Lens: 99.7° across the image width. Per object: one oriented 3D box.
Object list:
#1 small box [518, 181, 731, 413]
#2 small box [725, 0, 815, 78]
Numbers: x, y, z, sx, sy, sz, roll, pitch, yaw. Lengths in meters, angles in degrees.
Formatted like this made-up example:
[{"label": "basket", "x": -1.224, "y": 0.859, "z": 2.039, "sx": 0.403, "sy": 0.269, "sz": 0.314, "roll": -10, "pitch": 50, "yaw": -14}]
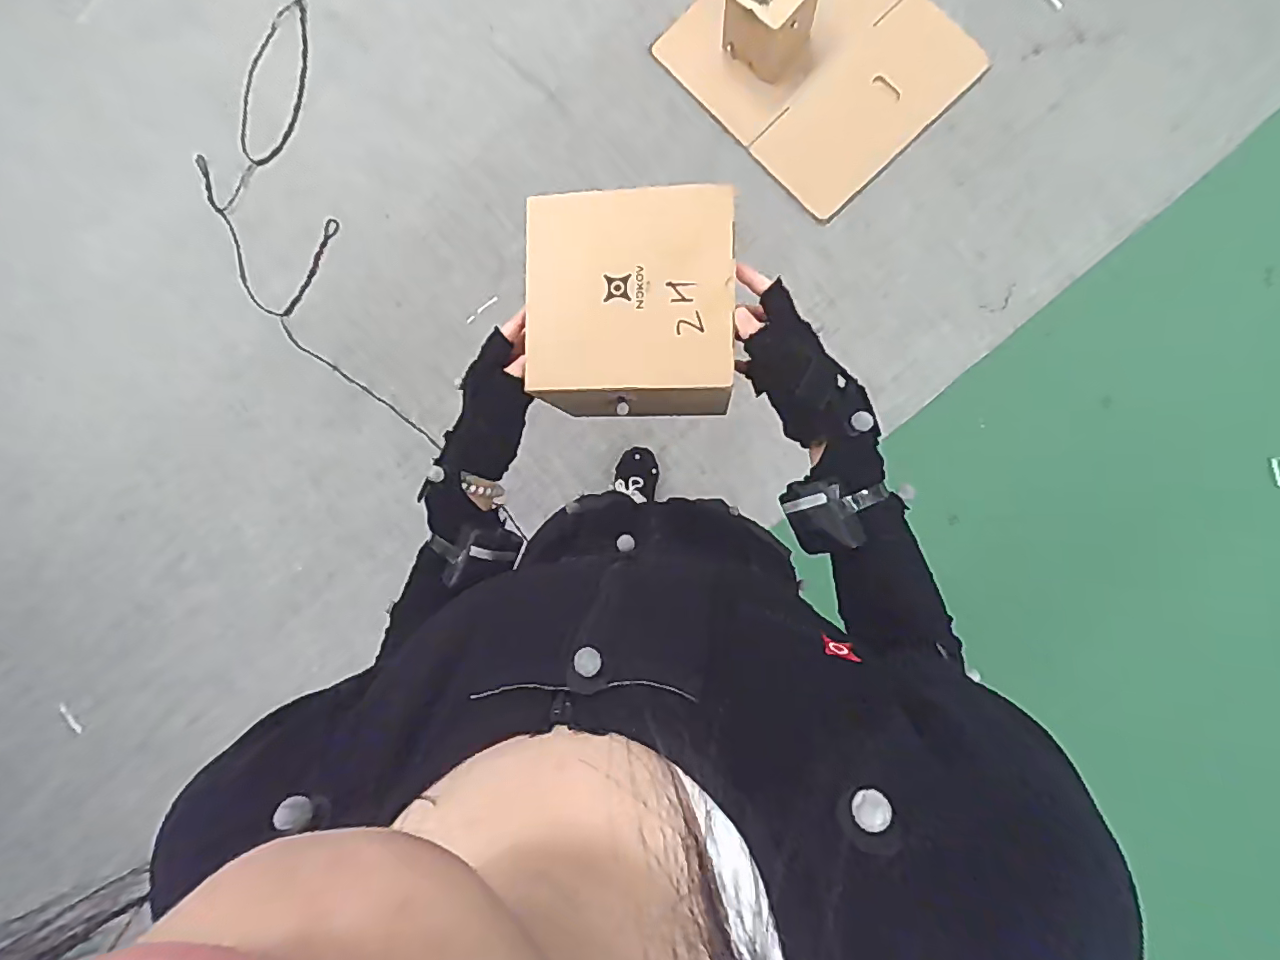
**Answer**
[{"label": "small box", "x": -0.004, "y": -0.157, "z": 0.520, "sx": 0.179, "sy": 0.176, "sz": 0.168, "roll": 0, "pitch": 89, "yaw": 7}, {"label": "small box", "x": 0.333, "y": -1.196, "z": 1.385, "sx": 0.168, "sy": 0.176, "sz": 0.179, "roll": 43, "pitch": 93, "yaw": 5}]
